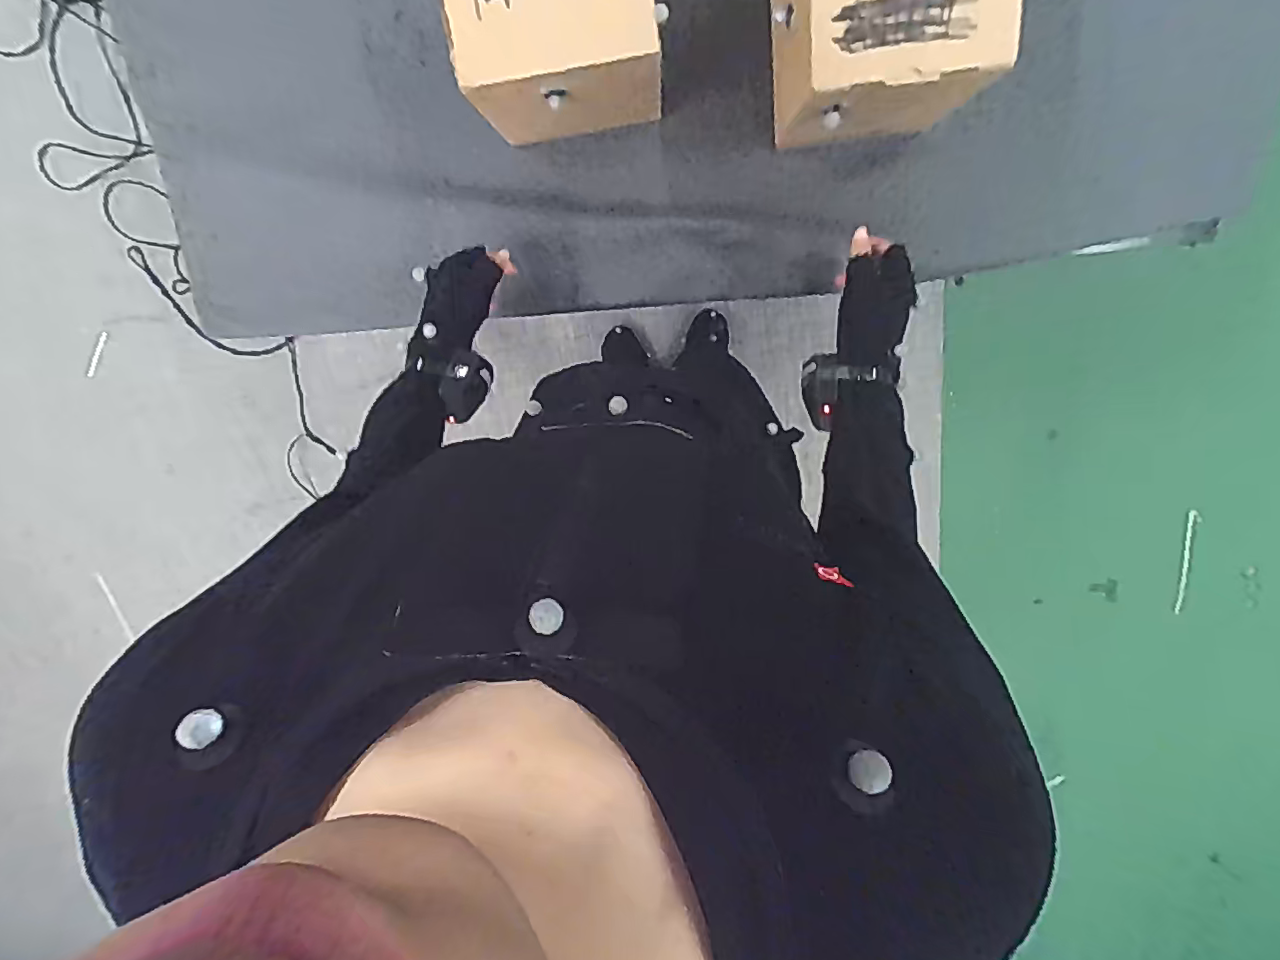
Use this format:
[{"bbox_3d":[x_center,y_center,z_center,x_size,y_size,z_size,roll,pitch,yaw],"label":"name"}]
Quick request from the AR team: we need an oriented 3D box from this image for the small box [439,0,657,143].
[{"bbox_3d":[-0.080,-0.445,0.514,0.179,0.176,0.168,-7,107,4],"label":"small box"}]
